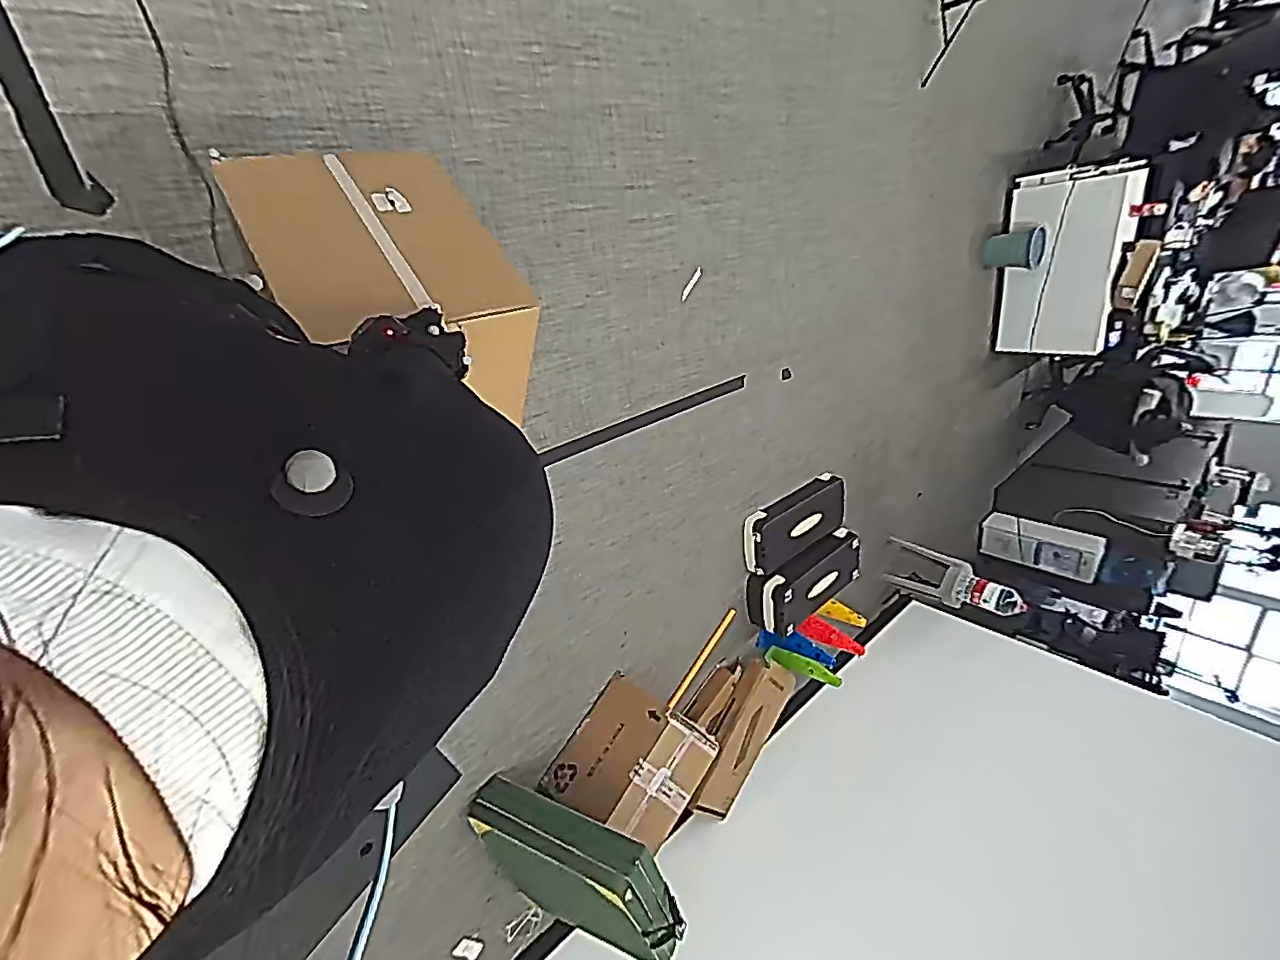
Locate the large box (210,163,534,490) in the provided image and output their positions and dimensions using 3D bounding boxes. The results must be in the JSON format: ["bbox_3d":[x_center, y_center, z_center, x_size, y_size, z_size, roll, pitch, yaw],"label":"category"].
[{"bbox_3d":[-0.424,-0.260,0.900,0.320,0.408,0.320,-24,155,-33],"label":"large box"}]
